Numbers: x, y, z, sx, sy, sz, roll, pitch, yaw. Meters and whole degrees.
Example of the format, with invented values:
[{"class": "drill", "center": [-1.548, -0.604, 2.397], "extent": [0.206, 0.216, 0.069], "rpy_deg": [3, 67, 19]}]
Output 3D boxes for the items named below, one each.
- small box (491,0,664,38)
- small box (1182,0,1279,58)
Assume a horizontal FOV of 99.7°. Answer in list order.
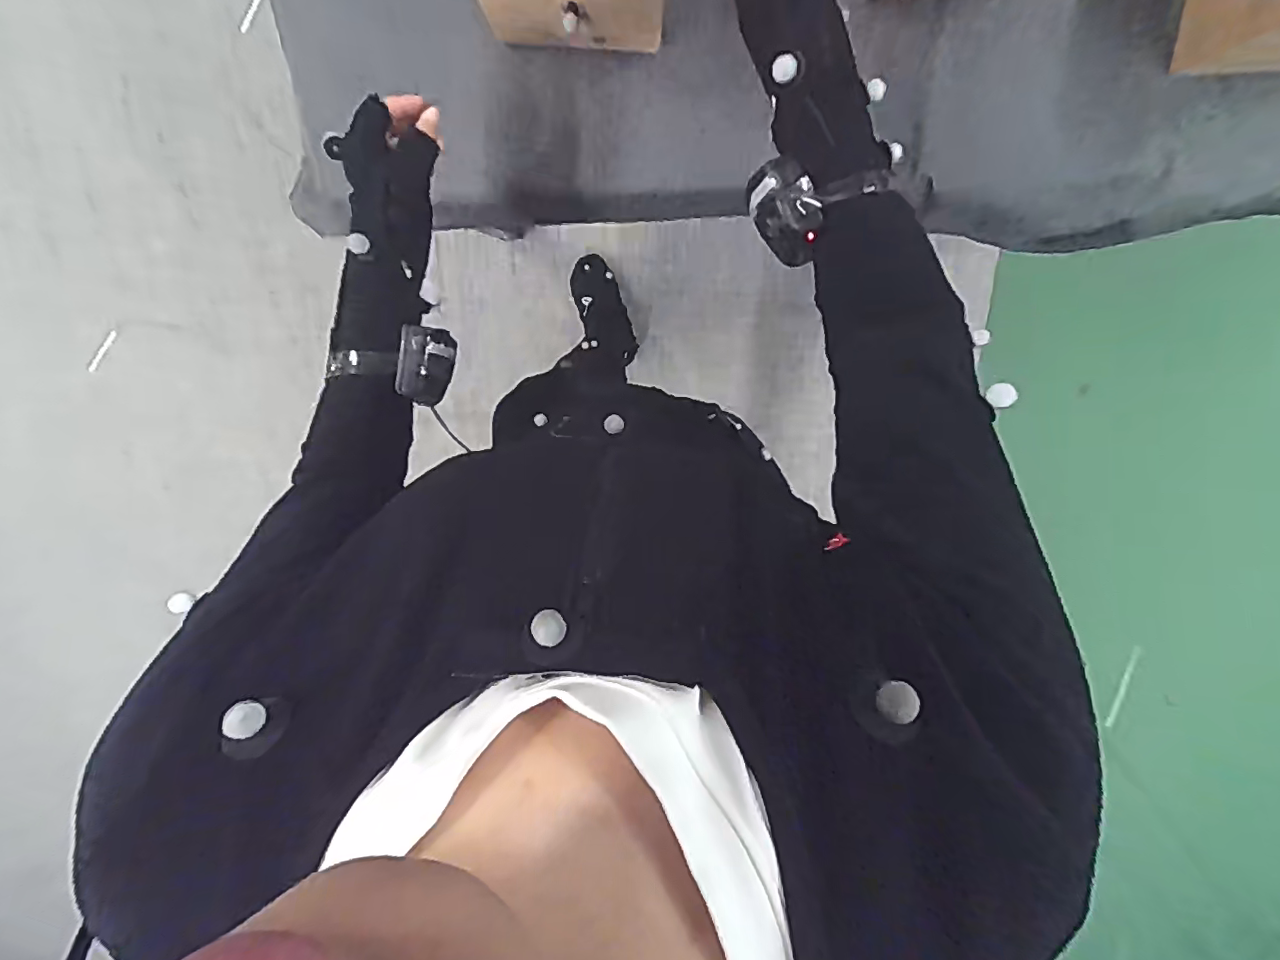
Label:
[{"class": "small box", "center": [-0.056, -0.504, 0.446], "extent": [0.168, 0.176, 0.179], "rpy_deg": [3, 109, -1]}, {"class": "small box", "center": [0.619, -0.481, 0.447], "extent": [0.168, 0.176, 0.179], "rpy_deg": [-3, 108, 1]}]
